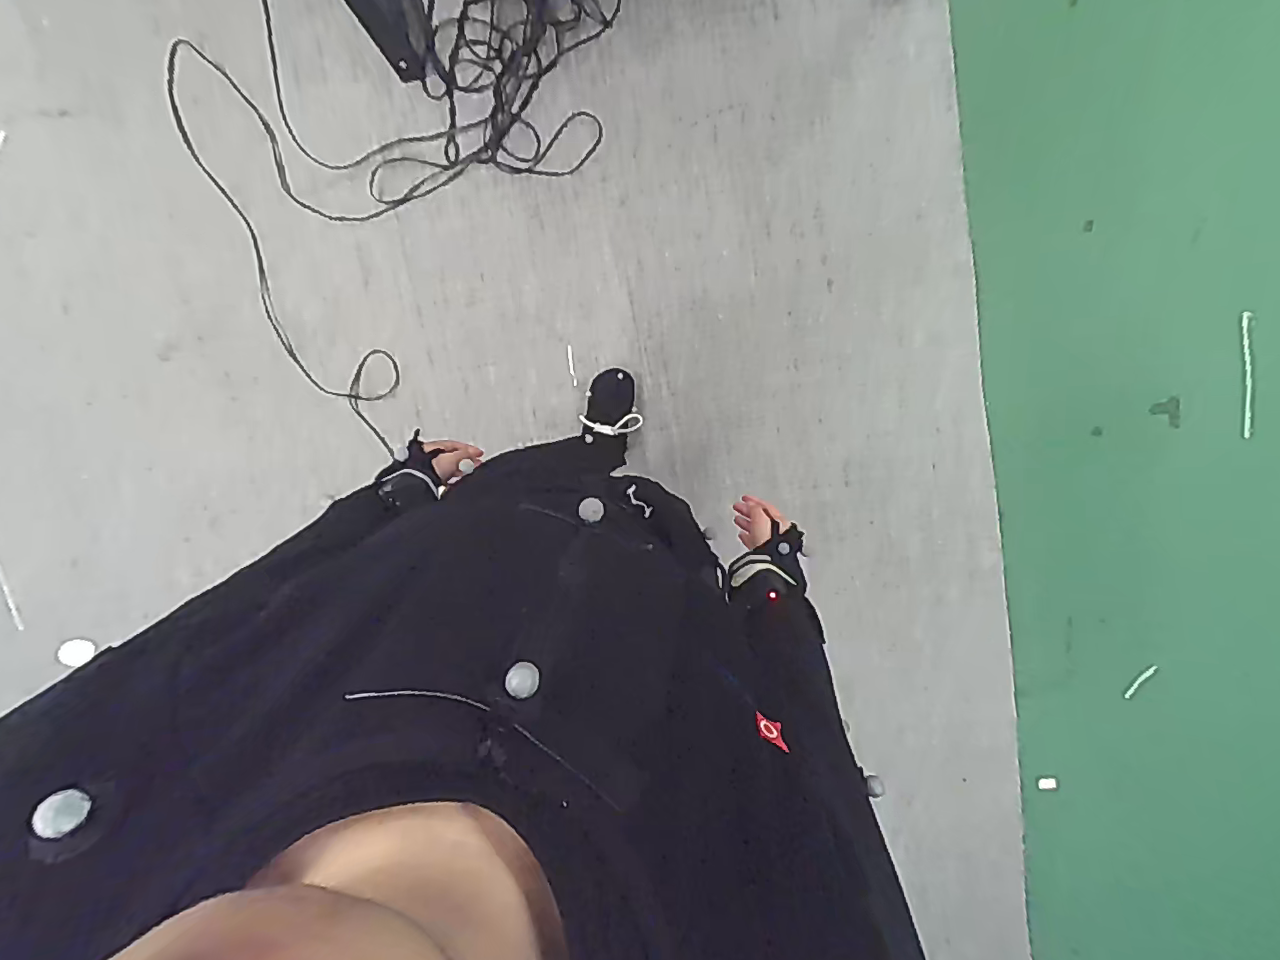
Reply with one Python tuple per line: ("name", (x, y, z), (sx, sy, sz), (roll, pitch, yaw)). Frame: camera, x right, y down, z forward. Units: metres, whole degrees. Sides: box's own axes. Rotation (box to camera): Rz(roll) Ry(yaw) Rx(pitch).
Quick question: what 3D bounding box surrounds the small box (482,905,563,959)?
("small box", (-0.313, 1.298, 1.456), (0.179, 0.176, 0.168), (-8, 98, 0))
